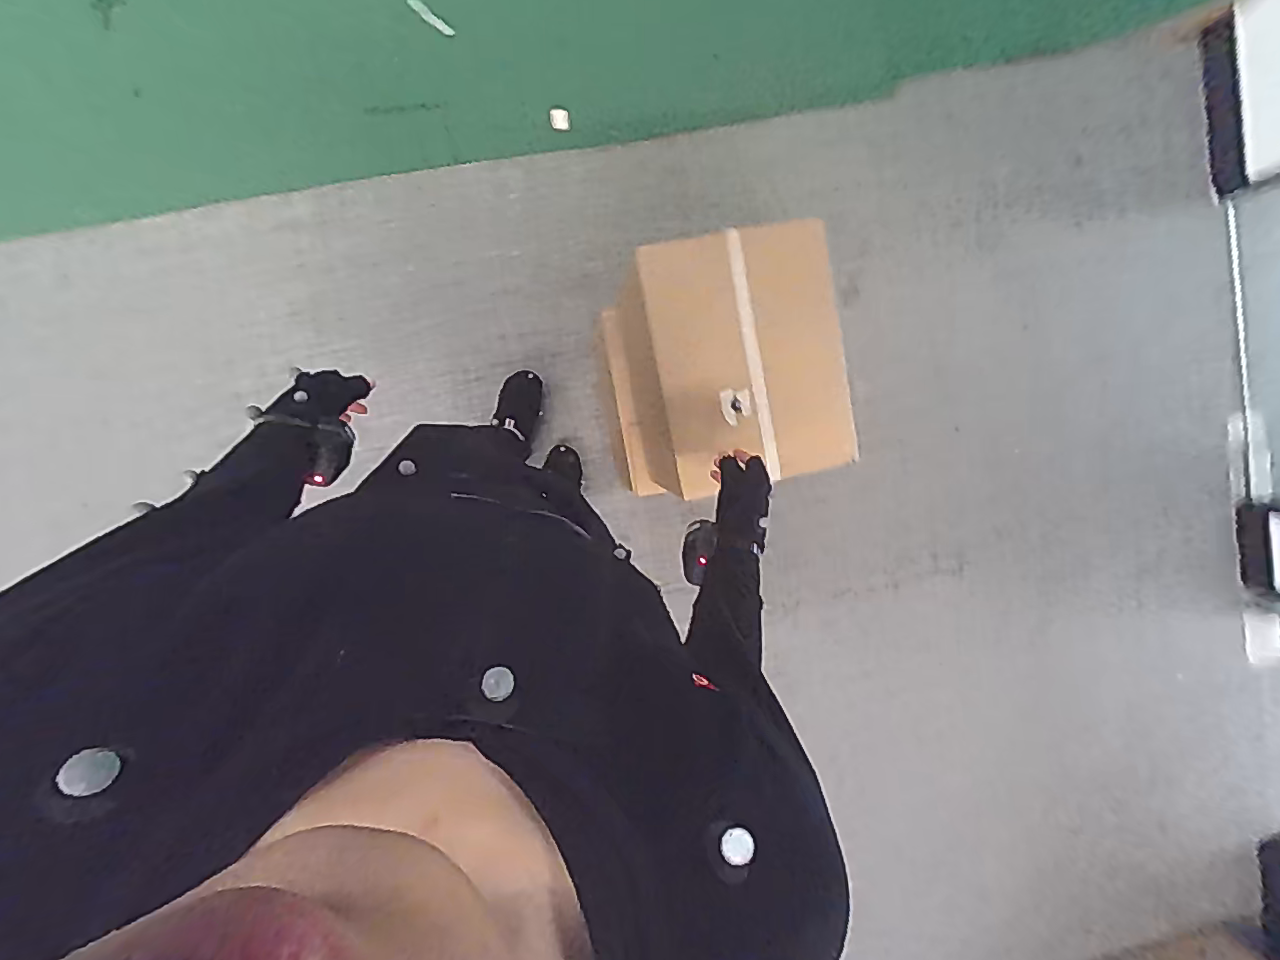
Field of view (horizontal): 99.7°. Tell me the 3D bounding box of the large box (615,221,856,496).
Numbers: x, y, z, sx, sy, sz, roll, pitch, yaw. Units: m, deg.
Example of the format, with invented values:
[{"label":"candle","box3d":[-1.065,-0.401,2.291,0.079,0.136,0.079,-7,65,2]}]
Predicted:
[{"label":"large box","box3d":[0.158,-0.213,1.020,0.320,0.320,0.408,-12,98,-8]}]
